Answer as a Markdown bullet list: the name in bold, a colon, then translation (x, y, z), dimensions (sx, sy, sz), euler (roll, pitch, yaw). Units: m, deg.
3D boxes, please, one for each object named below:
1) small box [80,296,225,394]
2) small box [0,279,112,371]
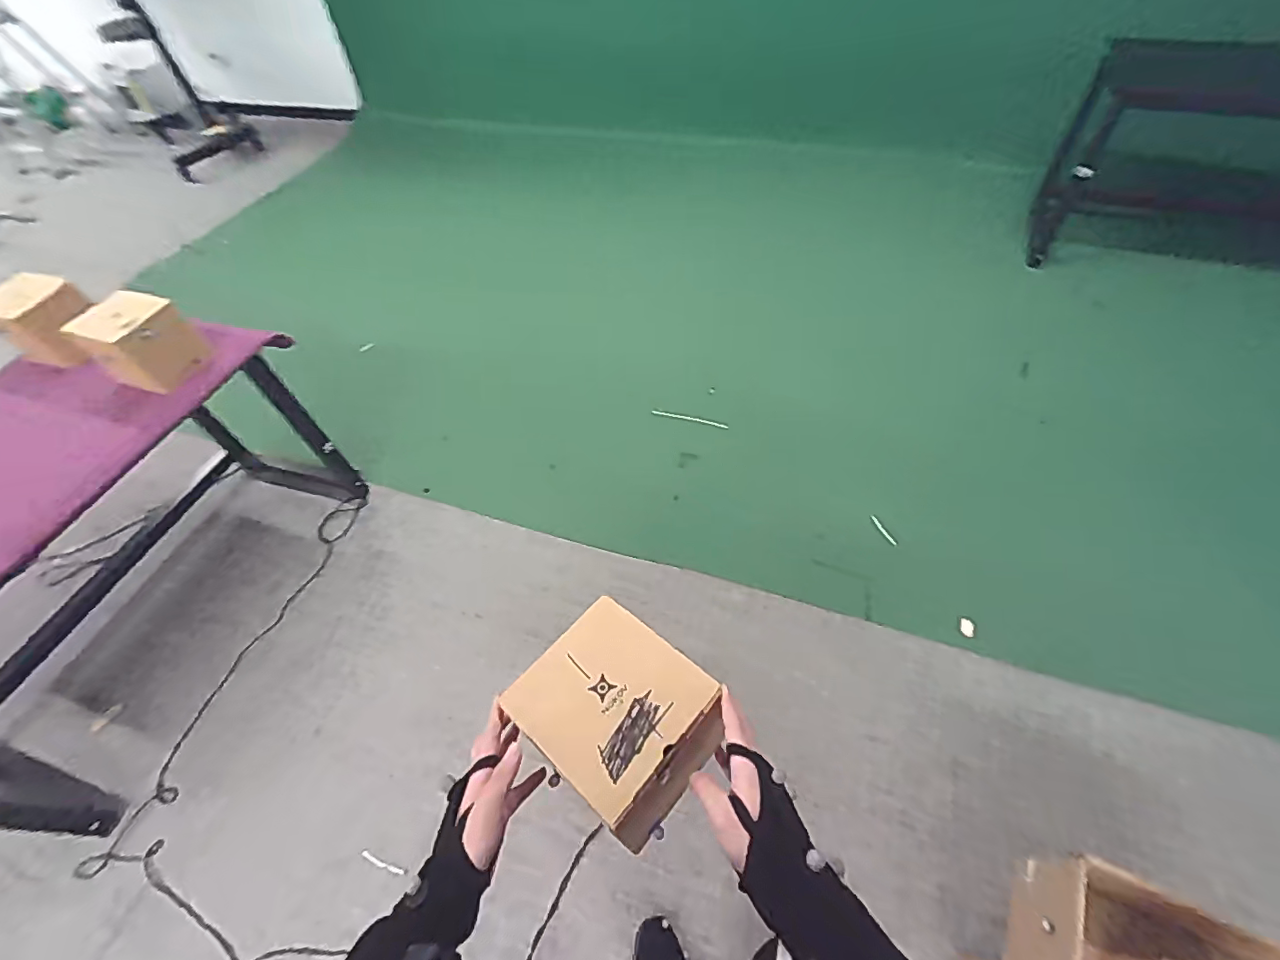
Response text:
- **small box**: translation (-1.224, -0.339, 1.372), dimensions (0.179, 0.176, 0.168), euler (14, 58, 16)
- **small box**: translation (-1.558, -0.417, 1.466), dimensions (0.179, 0.176, 0.168), euler (12, 59, 14)
